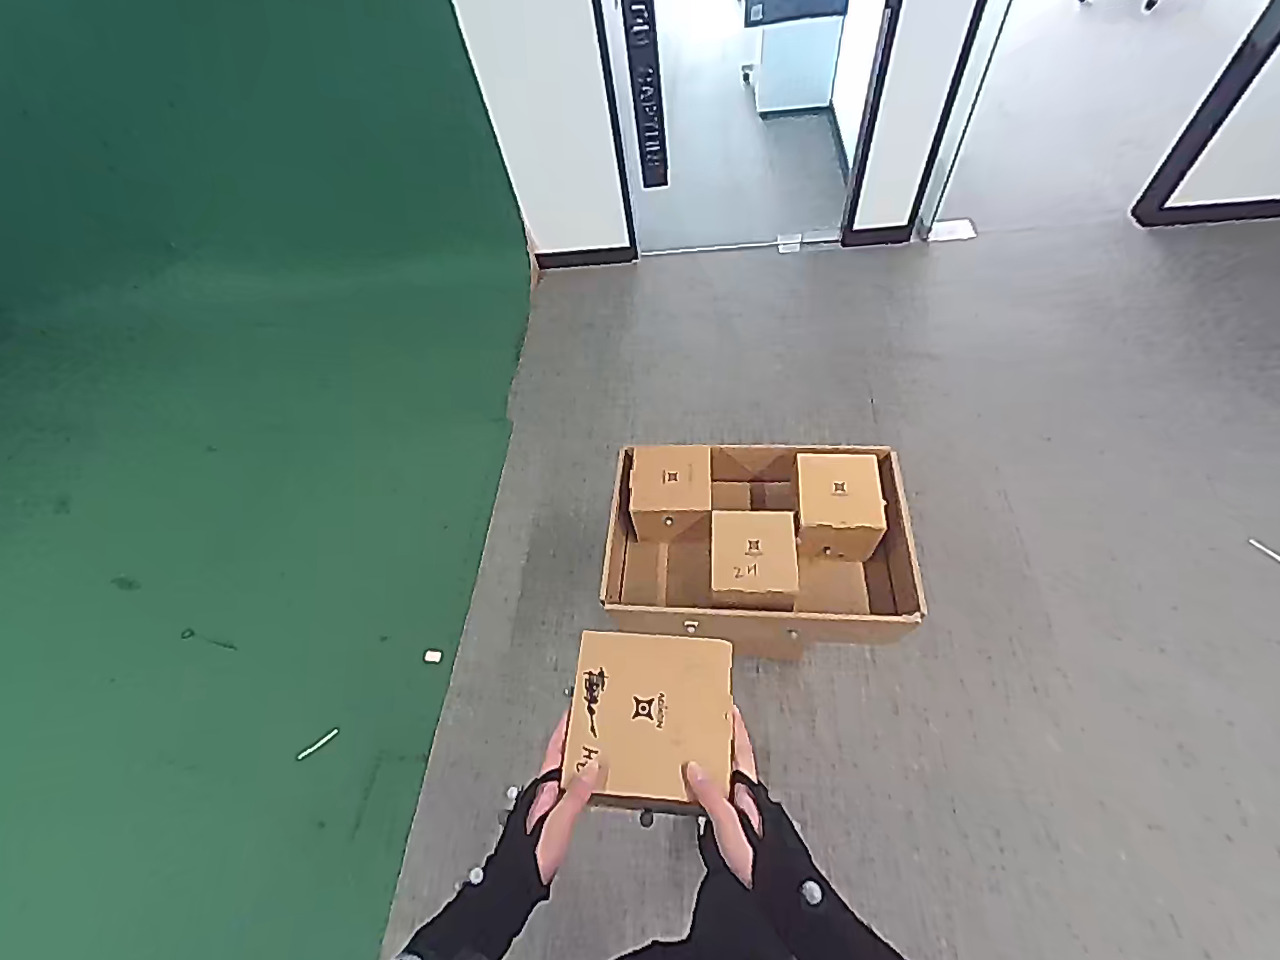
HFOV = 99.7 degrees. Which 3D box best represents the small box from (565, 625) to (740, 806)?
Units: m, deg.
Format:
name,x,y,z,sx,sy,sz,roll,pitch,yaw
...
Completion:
name,x,y,z,sx,sy,sz,roll,pitch,yaw
small box,0.019,0.285,0.646,0.179,0.176,0.168,3,55,4
